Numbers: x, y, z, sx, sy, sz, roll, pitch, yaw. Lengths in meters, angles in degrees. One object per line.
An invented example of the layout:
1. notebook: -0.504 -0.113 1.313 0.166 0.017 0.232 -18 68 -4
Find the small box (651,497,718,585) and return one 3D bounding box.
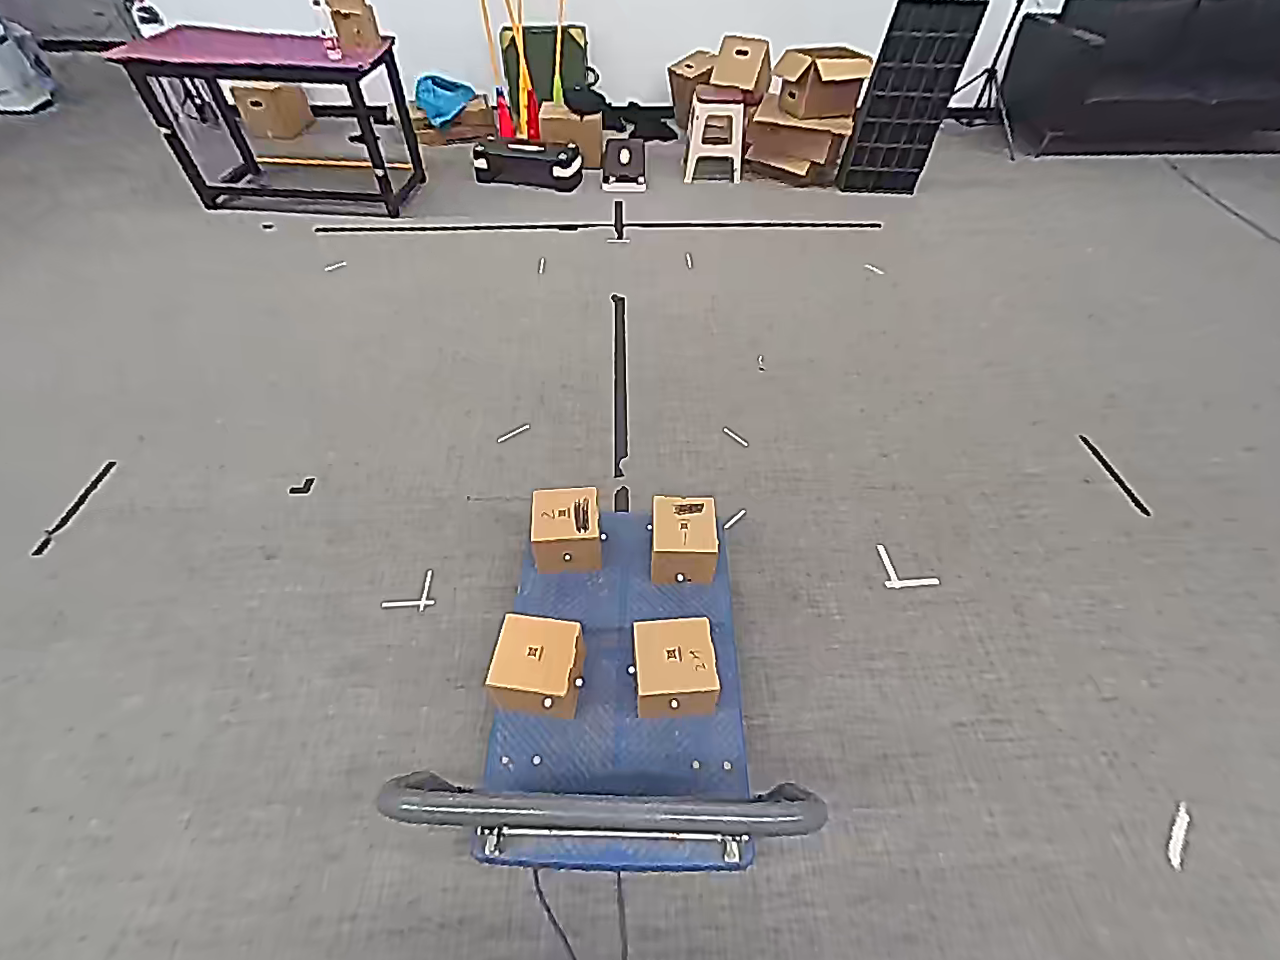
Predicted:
1. small box: 0.117 0.167 1.474 0.168 0.176 0.179 2 51 1

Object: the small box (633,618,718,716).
1. small box: 0.075 0.436 1.250 0.179 0.176 0.168 -2 50 -3

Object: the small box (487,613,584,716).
1. small box: -0.231 0.430 1.251 0.179 0.176 0.168 7 50 3
